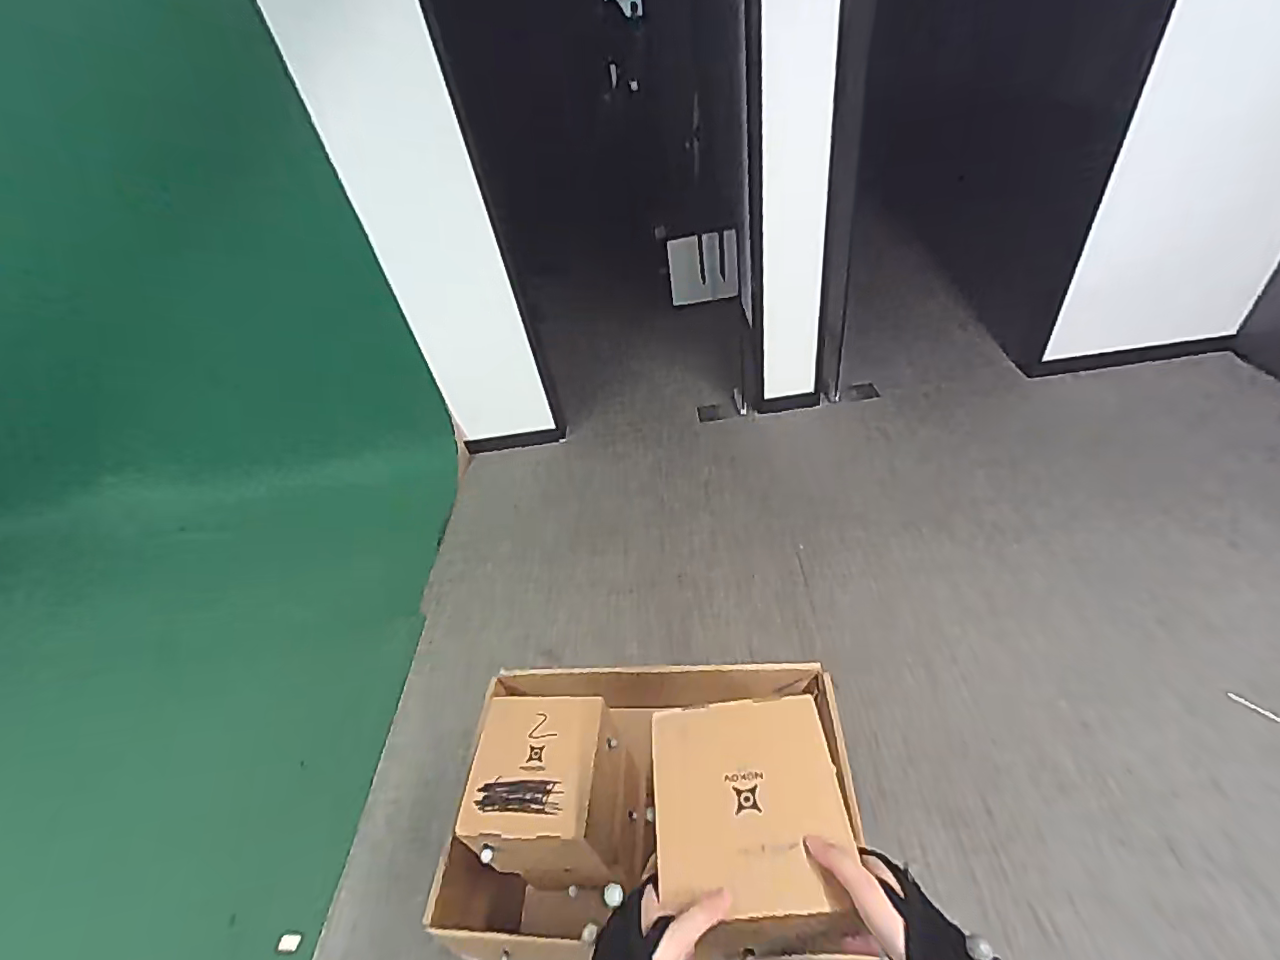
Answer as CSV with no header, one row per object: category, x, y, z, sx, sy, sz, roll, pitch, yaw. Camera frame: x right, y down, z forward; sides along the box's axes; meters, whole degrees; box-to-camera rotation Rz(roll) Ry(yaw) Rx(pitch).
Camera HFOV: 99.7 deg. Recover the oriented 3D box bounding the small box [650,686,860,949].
small box,0.103,0.335,0.539,0.168,0.176,0.179,-9,40,6
